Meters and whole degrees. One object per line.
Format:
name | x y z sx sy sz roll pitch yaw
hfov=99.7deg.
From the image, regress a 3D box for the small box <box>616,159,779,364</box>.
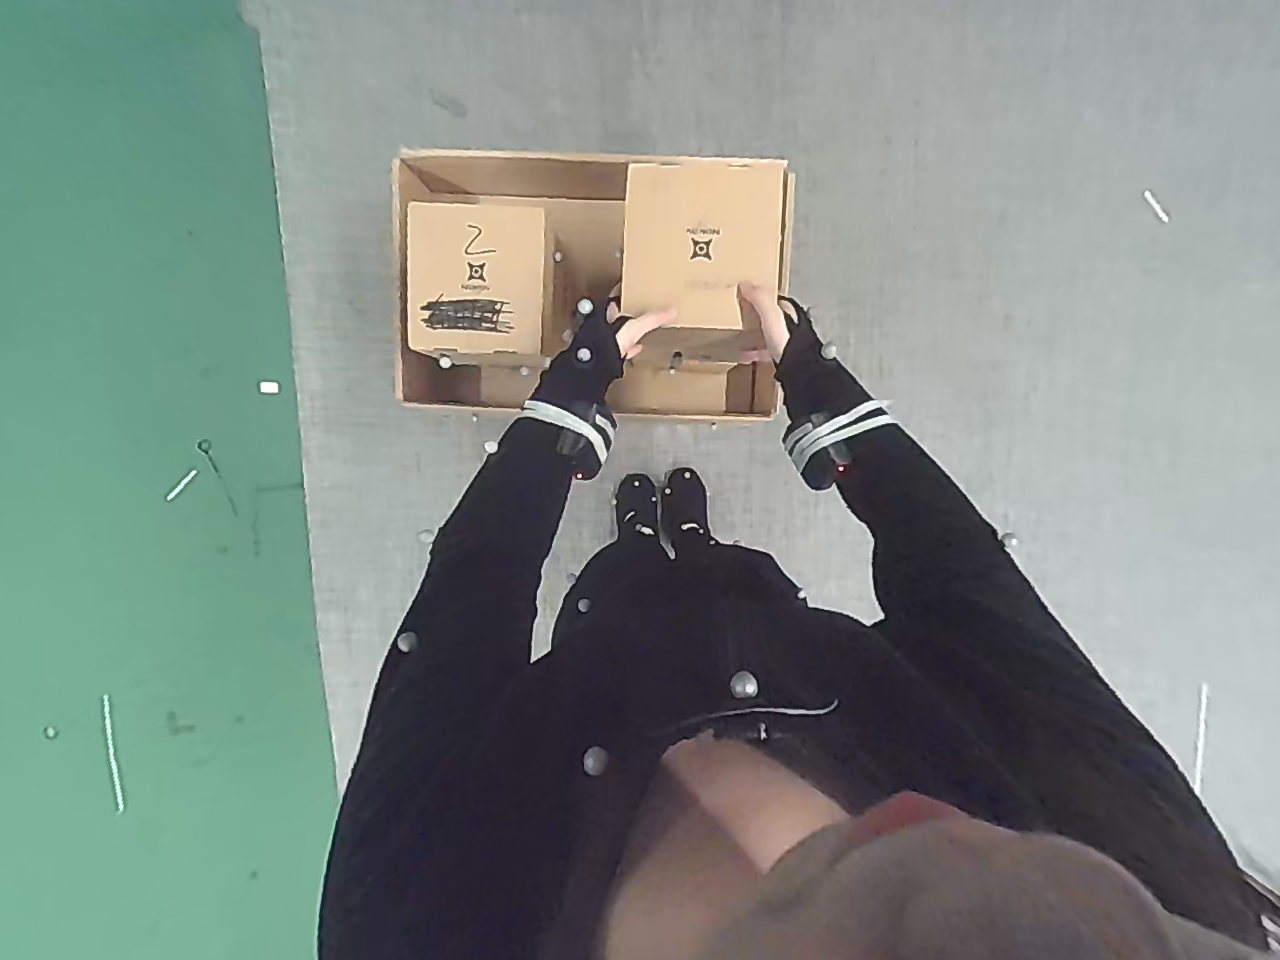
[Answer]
small box | 0.063 -0.249 0.652 0.168 0.176 0.179 3 90 2
